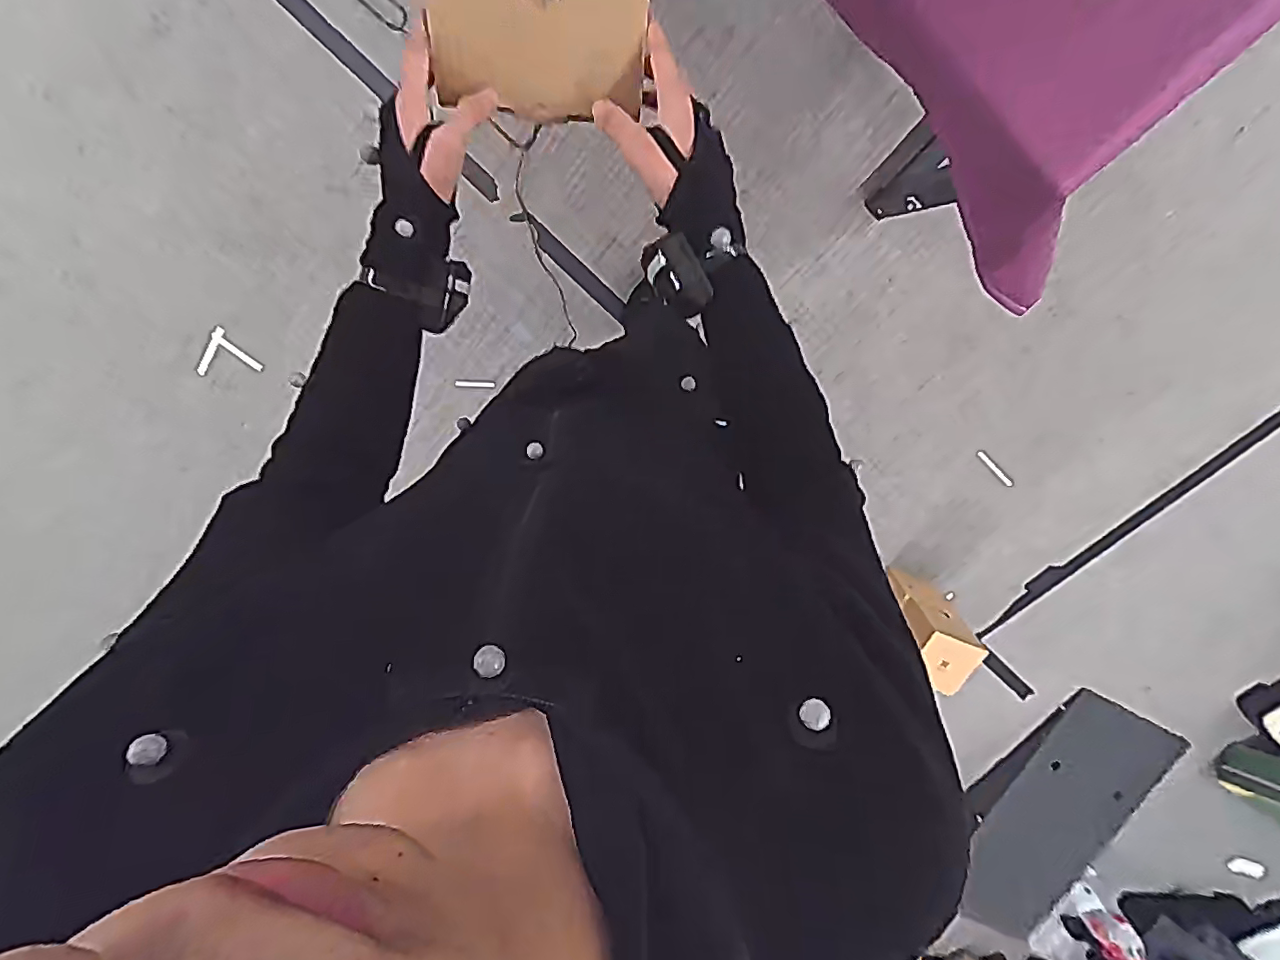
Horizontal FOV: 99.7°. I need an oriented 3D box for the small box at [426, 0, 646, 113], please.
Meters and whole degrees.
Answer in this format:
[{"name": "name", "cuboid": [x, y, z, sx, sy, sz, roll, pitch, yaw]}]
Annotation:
[{"name": "small box", "cuboid": [-0.078, -0.428, 0.447, 0.168, 0.176, 0.179, 1, 131, -7]}]
